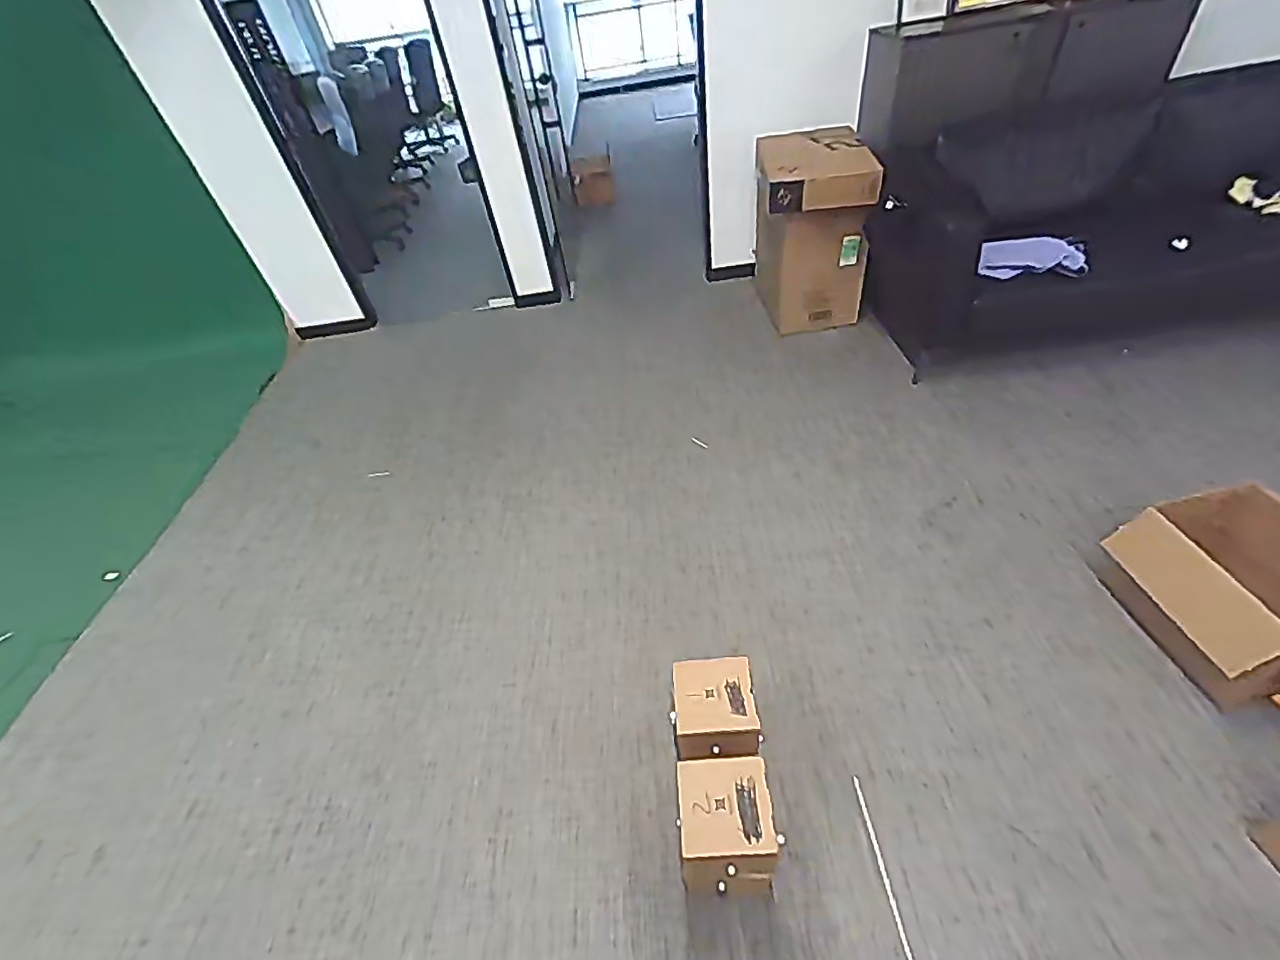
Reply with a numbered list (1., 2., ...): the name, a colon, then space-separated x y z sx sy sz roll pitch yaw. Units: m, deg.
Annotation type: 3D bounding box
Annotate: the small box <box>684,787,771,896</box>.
1. small box: 0.190 0.794 1.186 0.179 0.176 0.168 -3 44 8
